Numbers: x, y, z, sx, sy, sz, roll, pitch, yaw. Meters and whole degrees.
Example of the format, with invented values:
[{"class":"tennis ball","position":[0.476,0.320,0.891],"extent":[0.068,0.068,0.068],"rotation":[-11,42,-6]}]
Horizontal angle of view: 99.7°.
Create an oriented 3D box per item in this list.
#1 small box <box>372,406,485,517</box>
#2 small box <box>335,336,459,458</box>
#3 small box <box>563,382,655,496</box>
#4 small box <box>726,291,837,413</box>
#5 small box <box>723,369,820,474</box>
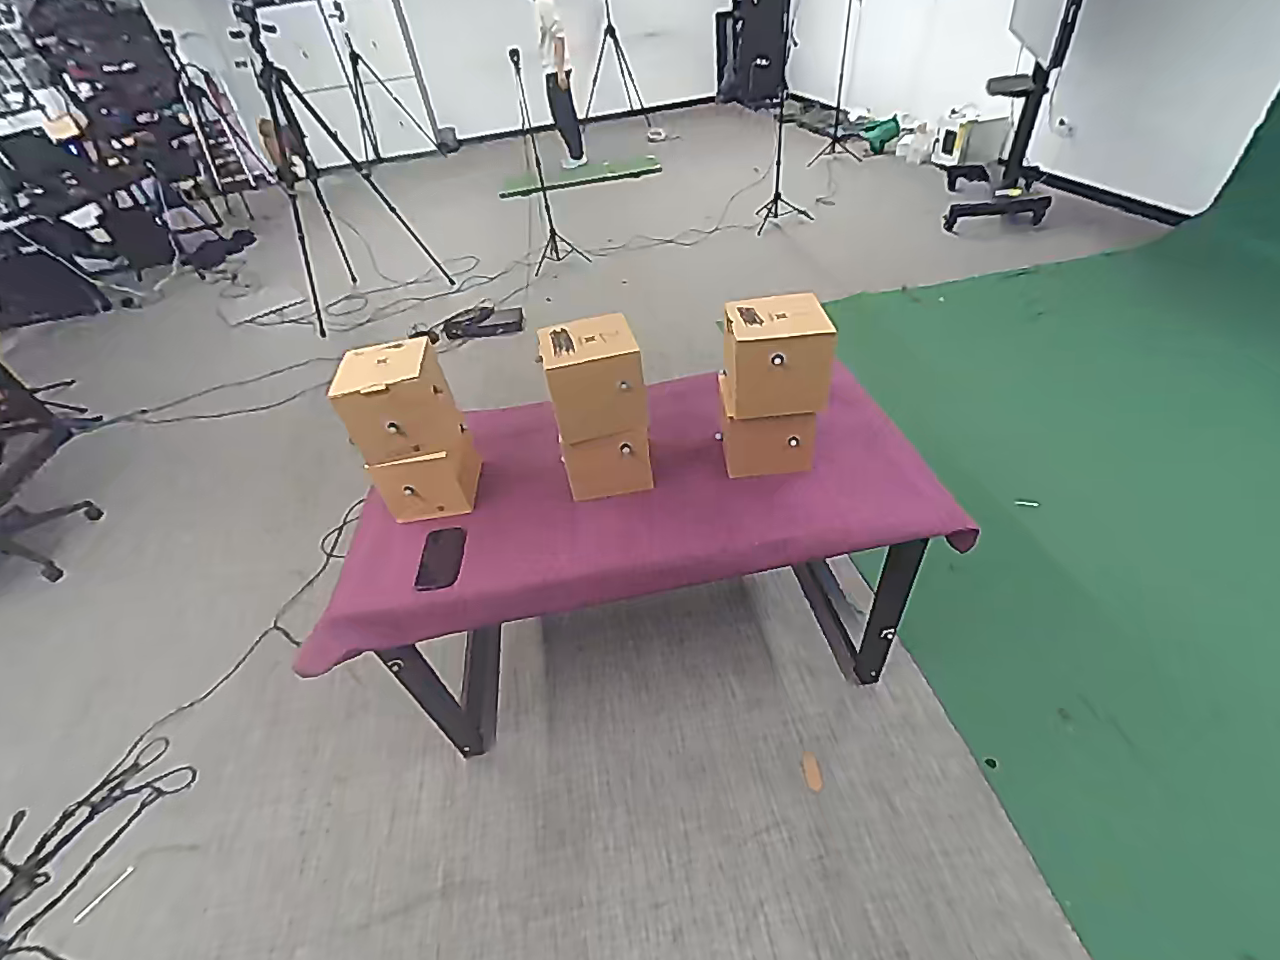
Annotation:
[{"class":"small box","position":[-0.452,-0.035,1.187],"extent":[0.168,0.176,0.179],"rotation":[-9,42,0]},{"class":"small box","position":[-0.473,-0.161,1.083],"extent":[0.168,0.176,0.179],"rotation":[-12,43,-4]},{"class":"small box","position":[-0.064,-0.086,1.170],"extent":[0.179,0.176,0.168],"rotation":[-10,42,0]},{"class":"small box","position":[0.263,-0.242,1.040],"extent":[0.179,0.176,0.168],"rotation":[-5,42,4]},{"class":"small box","position":[0.273,-0.131,1.161],"extent":[0.179,0.176,0.168],"rotation":[-6,42,5]}]
